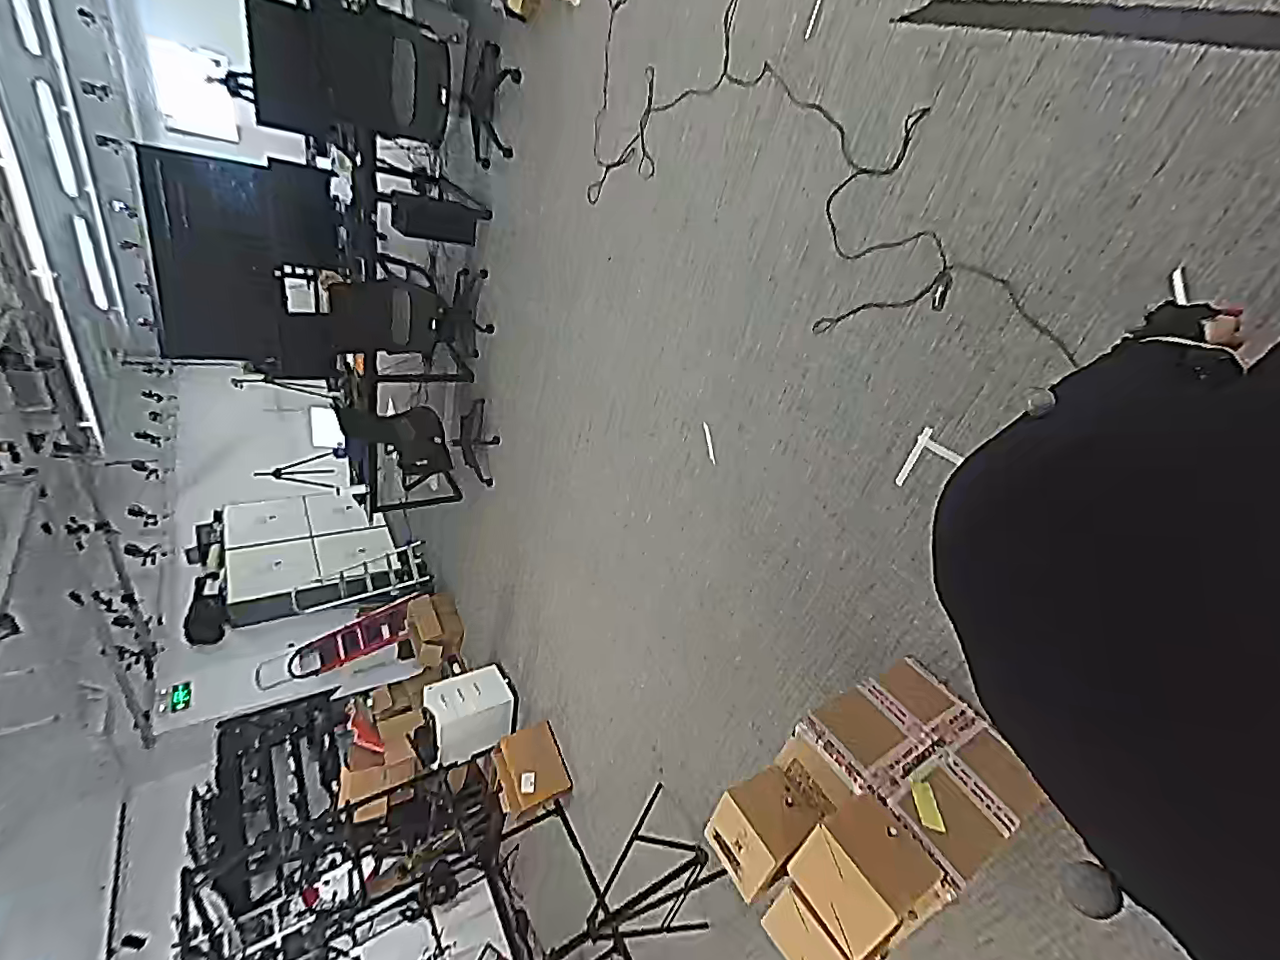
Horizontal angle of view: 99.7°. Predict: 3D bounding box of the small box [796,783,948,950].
[{"bbox_3d":[0.435,0.734,1.033,0.179,0.176,0.168,44,128,41],"label":"small box"}]
